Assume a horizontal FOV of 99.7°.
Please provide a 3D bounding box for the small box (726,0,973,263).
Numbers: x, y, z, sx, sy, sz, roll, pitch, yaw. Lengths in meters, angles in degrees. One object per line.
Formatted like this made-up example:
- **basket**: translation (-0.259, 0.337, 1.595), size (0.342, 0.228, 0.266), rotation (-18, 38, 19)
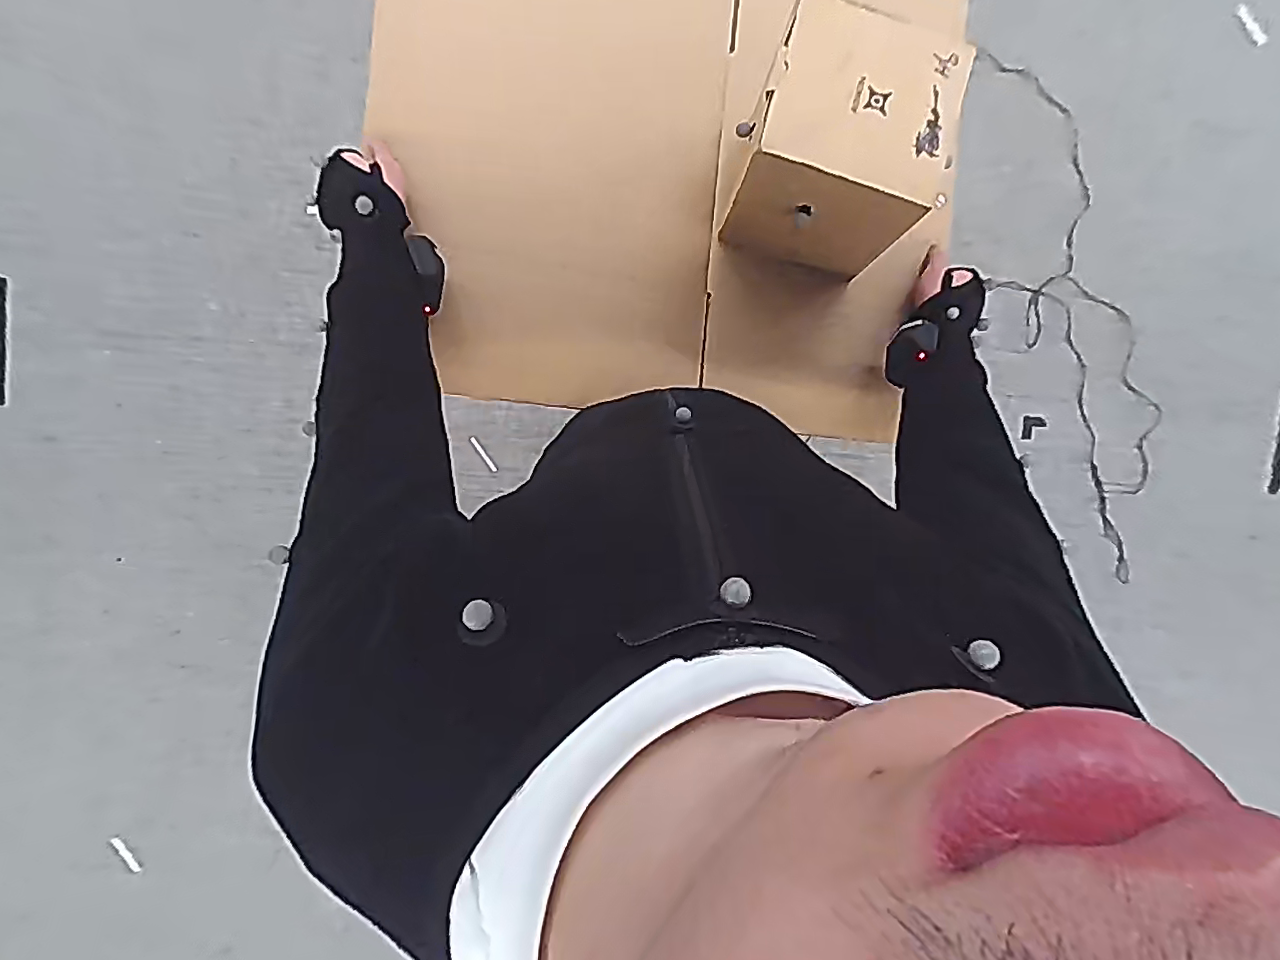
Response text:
- **small box**: translation (0.206, -0.361, 0.582), size (0.179, 0.176, 0.168), rotation (16, 88, -2)
